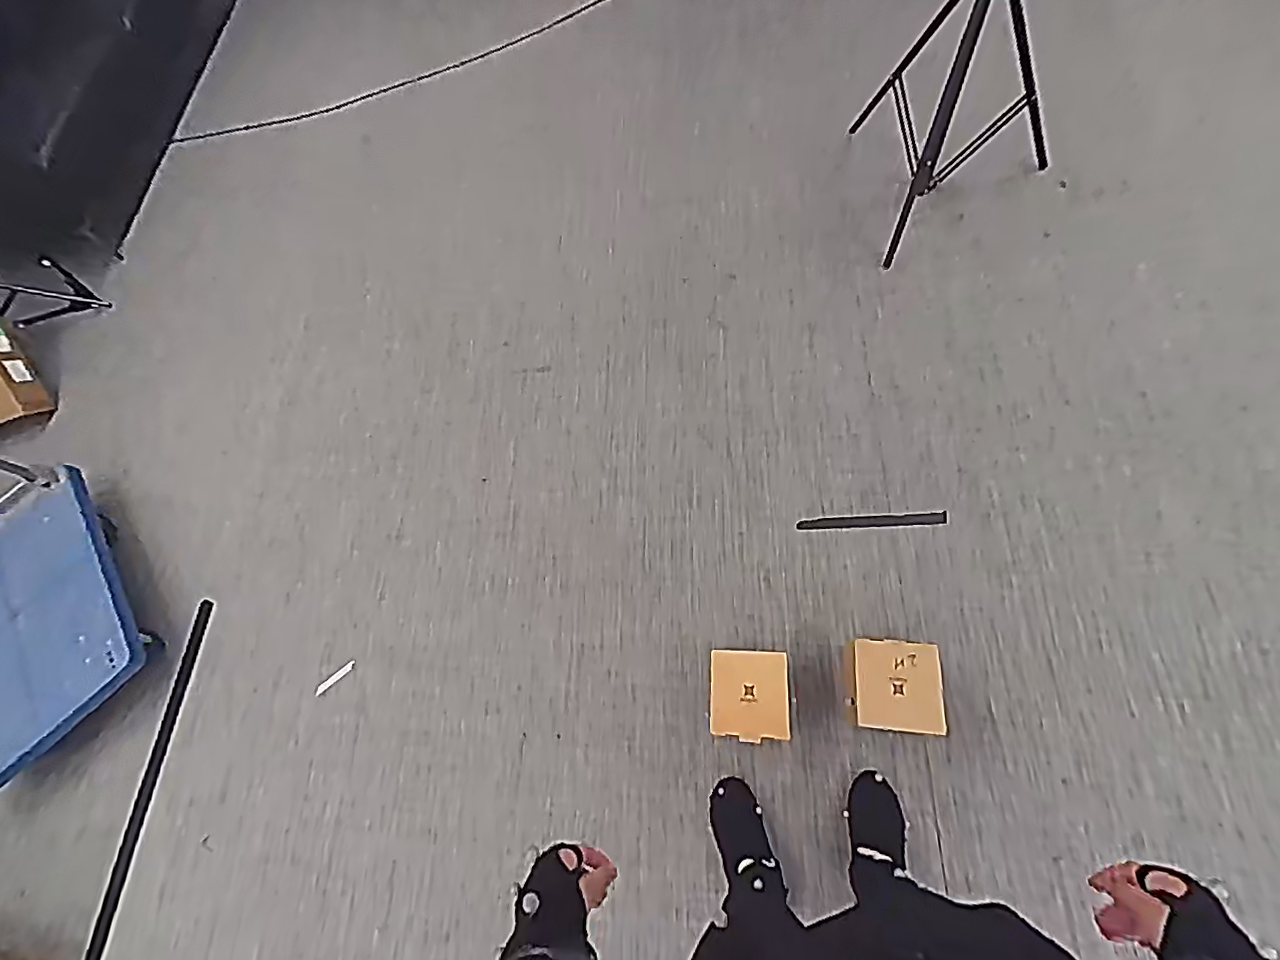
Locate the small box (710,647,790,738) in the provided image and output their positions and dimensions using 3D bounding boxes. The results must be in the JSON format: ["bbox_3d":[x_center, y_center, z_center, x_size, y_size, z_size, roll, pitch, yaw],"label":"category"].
[{"bbox_3d":[0.248,0.479,1.227,0.168,0.176,0.179,-2,69,12],"label":"small box"}]

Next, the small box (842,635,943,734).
[{"bbox_3d":[0.540,0.442,1.175,0.168,0.176,0.179,1,69,12],"label":"small box"}]
